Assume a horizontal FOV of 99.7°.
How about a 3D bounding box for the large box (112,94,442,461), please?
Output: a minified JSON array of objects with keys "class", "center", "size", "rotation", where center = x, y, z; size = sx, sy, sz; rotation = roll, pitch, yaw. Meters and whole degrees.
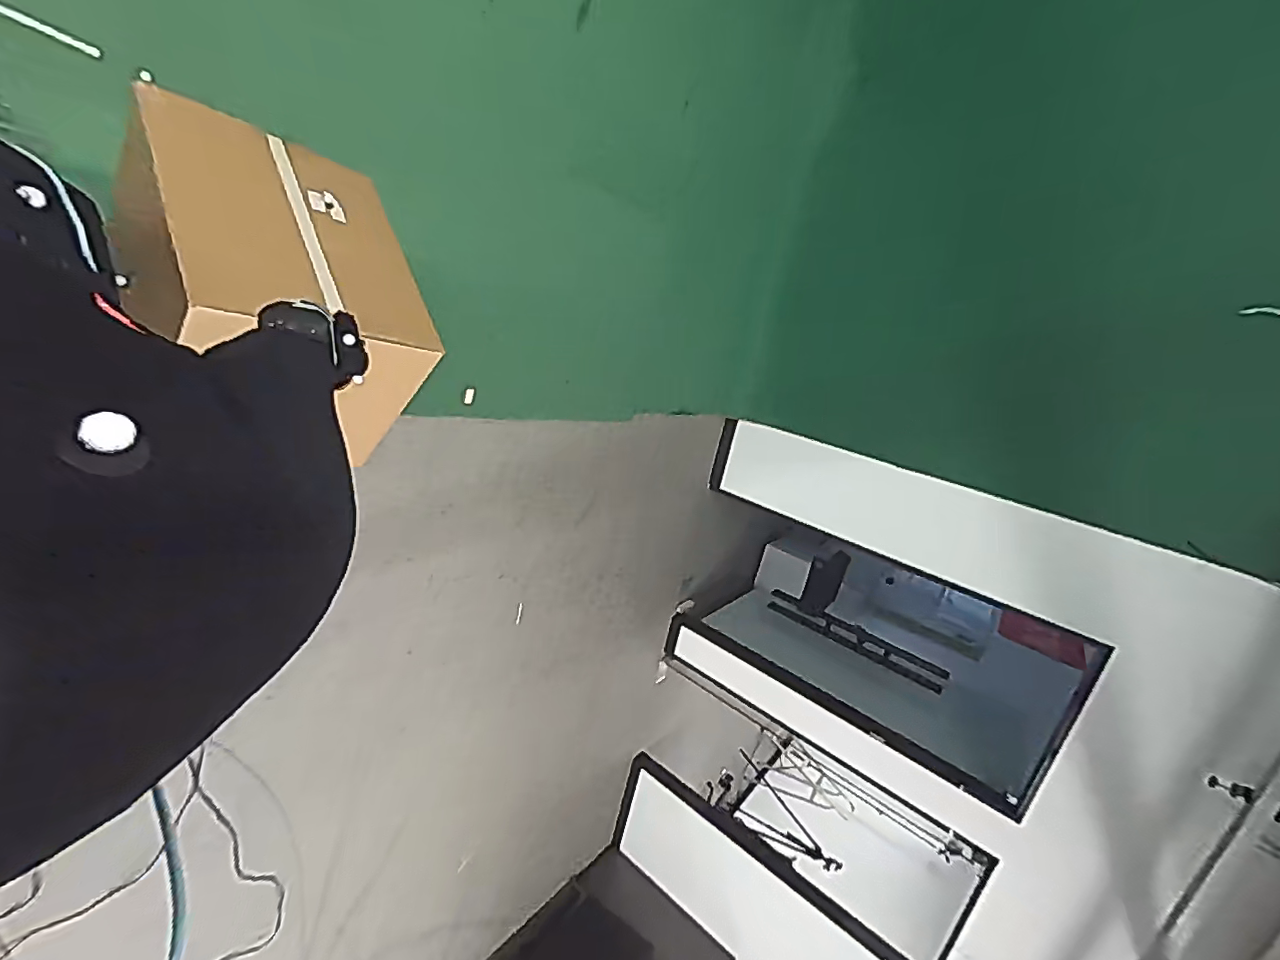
[{"class":"large box","center":[-0.585,-0.277,0.861],"size":[0.320,0.408,0.320],"rotation":[-40,159,31]}]
